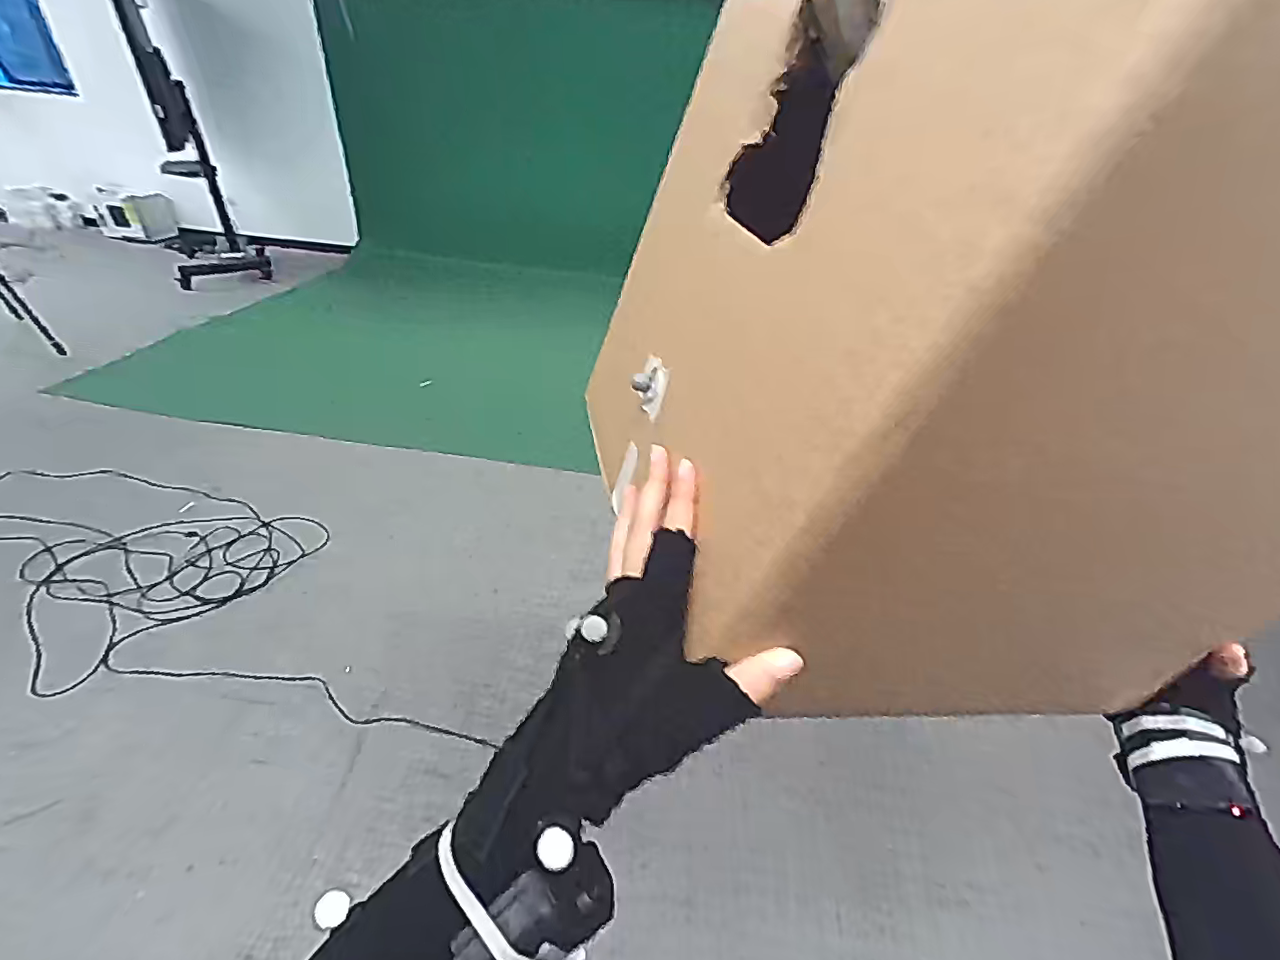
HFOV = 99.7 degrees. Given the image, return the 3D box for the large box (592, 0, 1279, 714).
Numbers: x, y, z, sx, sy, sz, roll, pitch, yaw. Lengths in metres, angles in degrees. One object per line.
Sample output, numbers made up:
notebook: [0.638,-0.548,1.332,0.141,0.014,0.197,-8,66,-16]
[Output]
large box: [0.221,-0.060,0.385,0.408,0.320,0.320,10,36,-24]
